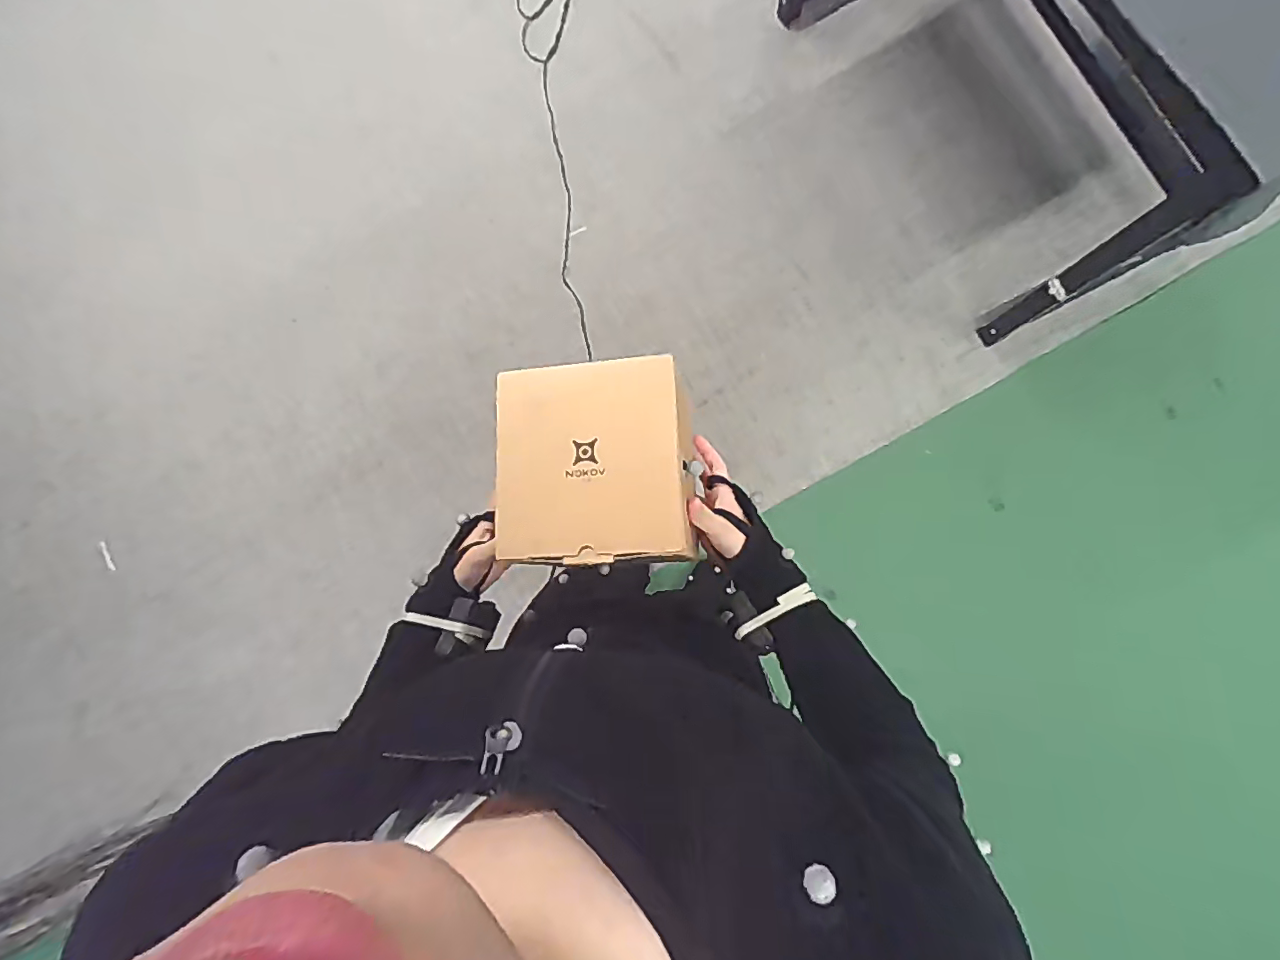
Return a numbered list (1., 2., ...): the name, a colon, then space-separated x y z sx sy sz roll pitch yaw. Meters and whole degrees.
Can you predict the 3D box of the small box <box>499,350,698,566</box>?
1. small box: -0.030 -0.009 0.538 0.168 0.176 0.179 -5 80 8
